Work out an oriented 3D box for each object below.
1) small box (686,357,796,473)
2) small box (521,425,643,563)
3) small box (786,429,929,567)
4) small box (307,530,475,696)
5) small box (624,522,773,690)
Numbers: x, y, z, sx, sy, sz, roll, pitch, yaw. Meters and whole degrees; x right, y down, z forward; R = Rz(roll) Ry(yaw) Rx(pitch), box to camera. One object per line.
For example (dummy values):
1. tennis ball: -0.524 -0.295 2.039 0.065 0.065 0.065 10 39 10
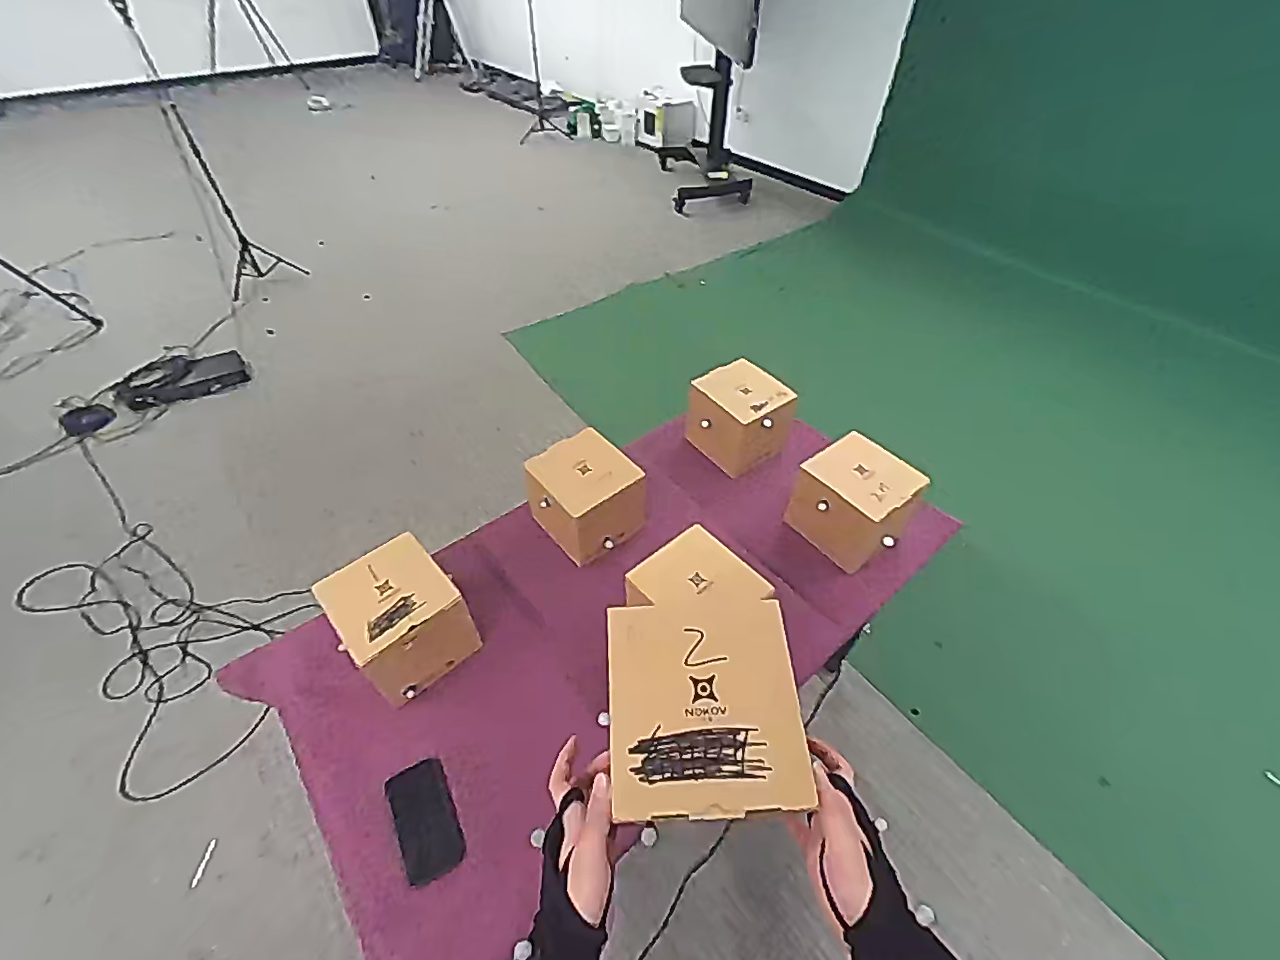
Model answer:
1. small box: 0.220 -0.148 1.232 0.168 0.176 0.179 -29 53 -24
2. small box: -0.112 0.029 1.066 0.168 0.176 0.179 -32 56 -25
3. small box: 0.412 0.036 1.057 0.168 0.176 0.179 -29 54 -23
4. small box: -0.394 0.222 0.880 0.168 0.176 0.179 -34 55 -28
5. small box: 0.088 0.210 0.898 0.168 0.176 0.179 -32 54 -27
